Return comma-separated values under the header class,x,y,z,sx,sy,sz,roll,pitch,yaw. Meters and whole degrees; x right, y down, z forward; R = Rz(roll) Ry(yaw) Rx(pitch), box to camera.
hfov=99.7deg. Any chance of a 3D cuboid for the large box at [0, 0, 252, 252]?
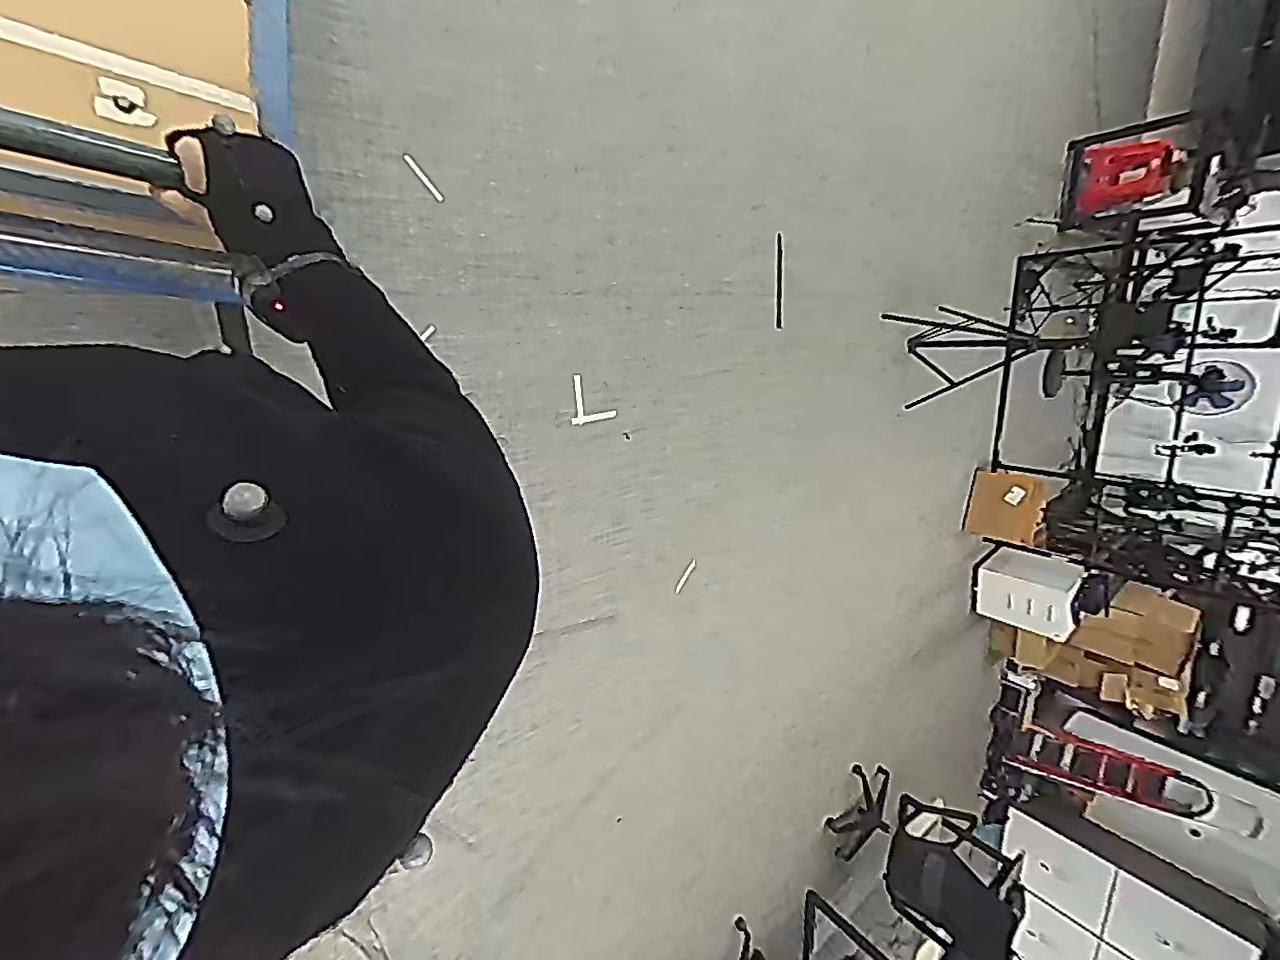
class,x,y,z,sx,sy,sz,roll,pitch,yaw
large box,-0.805,-0.539,0.751,0.408,0.320,0.320,-3,103,-40
